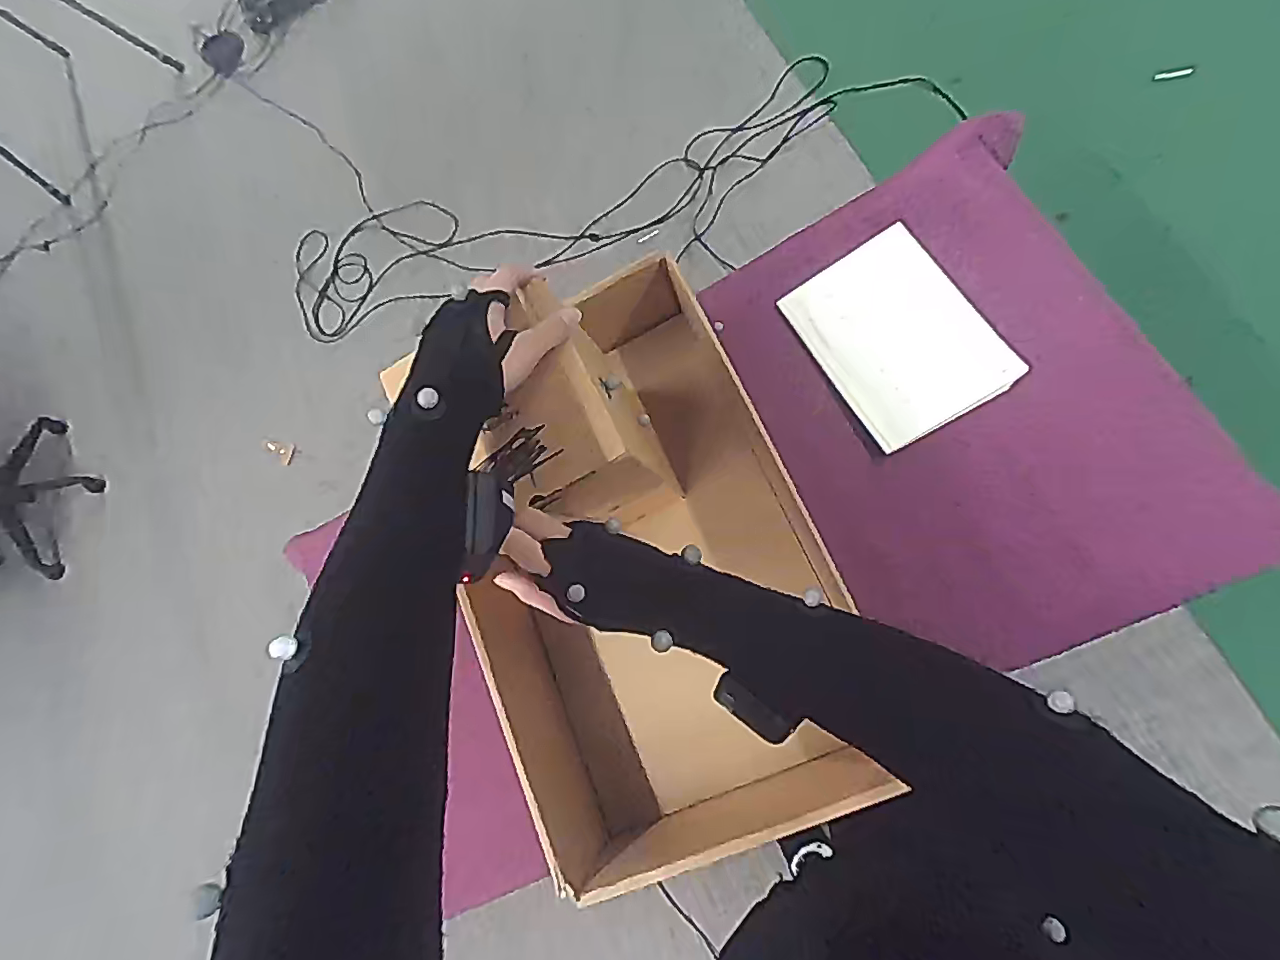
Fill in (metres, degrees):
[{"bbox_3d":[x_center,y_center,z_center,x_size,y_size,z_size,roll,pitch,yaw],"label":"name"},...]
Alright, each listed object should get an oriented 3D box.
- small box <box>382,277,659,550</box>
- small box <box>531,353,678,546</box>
[{"bbox_3d":[-0.099,-0.047,0.515,0.168,0.176,0.179,-29,76,8],"label":"small box"},{"bbox_3d":[-0.069,-0.027,0.677,0.168,0.176,0.179,-29,77,8],"label":"small box"}]
